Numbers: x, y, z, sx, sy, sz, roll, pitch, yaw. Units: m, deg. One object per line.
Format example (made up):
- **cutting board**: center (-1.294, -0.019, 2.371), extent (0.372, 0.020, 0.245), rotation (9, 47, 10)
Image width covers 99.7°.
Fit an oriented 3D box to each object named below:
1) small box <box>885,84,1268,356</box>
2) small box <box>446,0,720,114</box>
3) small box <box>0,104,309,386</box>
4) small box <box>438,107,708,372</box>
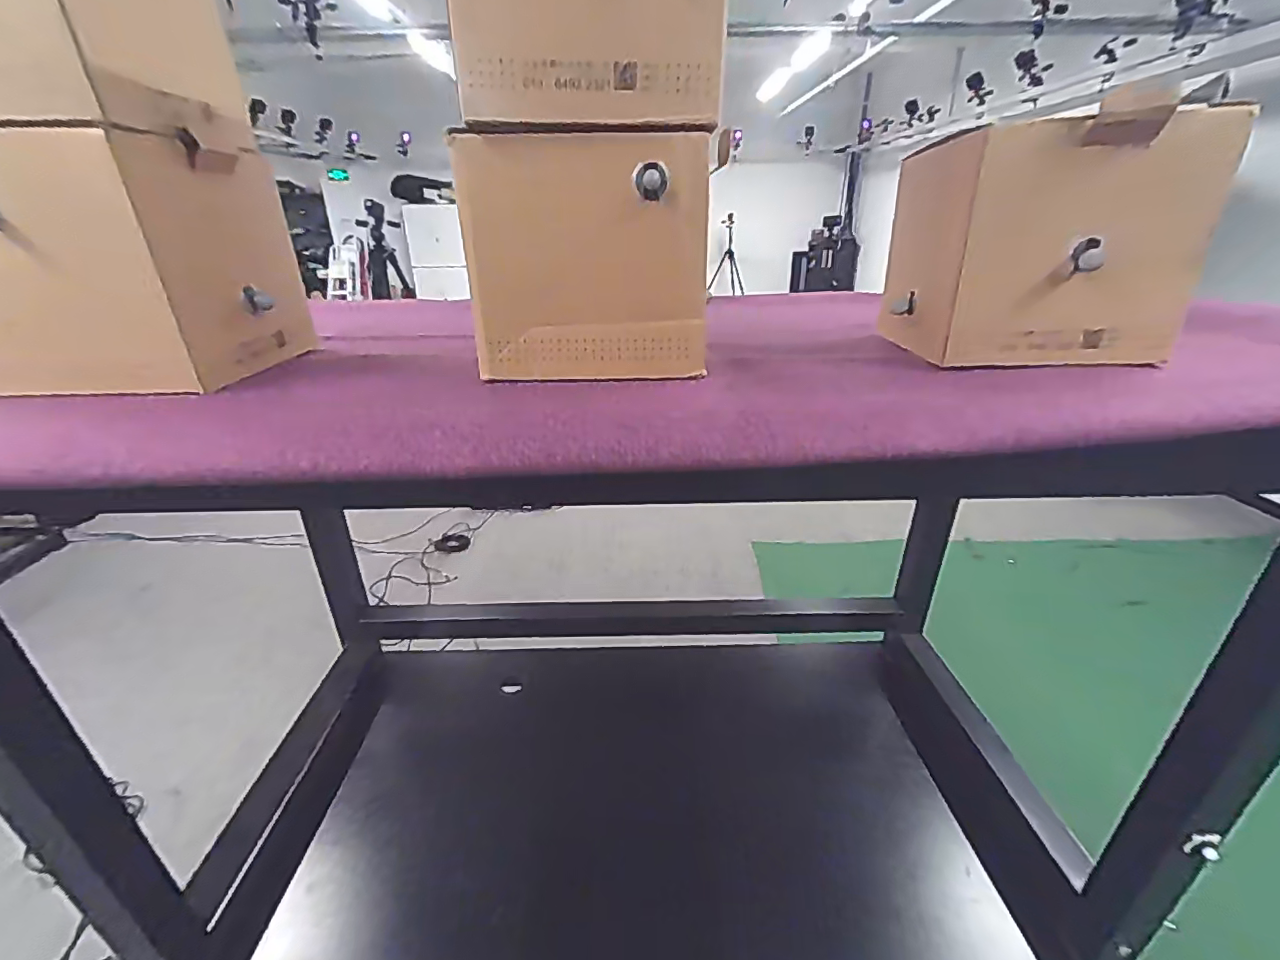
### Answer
- **small box**: center (0.321, -0.200, 0.449), extent (0.168, 0.176, 0.179), rotation (0, 24, 6)
- **small box**: center (-0.037, -0.334, 0.377), extent (0.168, 0.176, 0.179), rotation (0, 23, -3)
- **small box**: center (-0.403, -0.173, 0.420), extent (0.179, 0.176, 0.168), rotation (-1, 27, -1)
- **small box**: center (-0.041, -0.187, 0.444), extent (0.179, 0.176, 0.168), rotation (-1, 24, -1)
